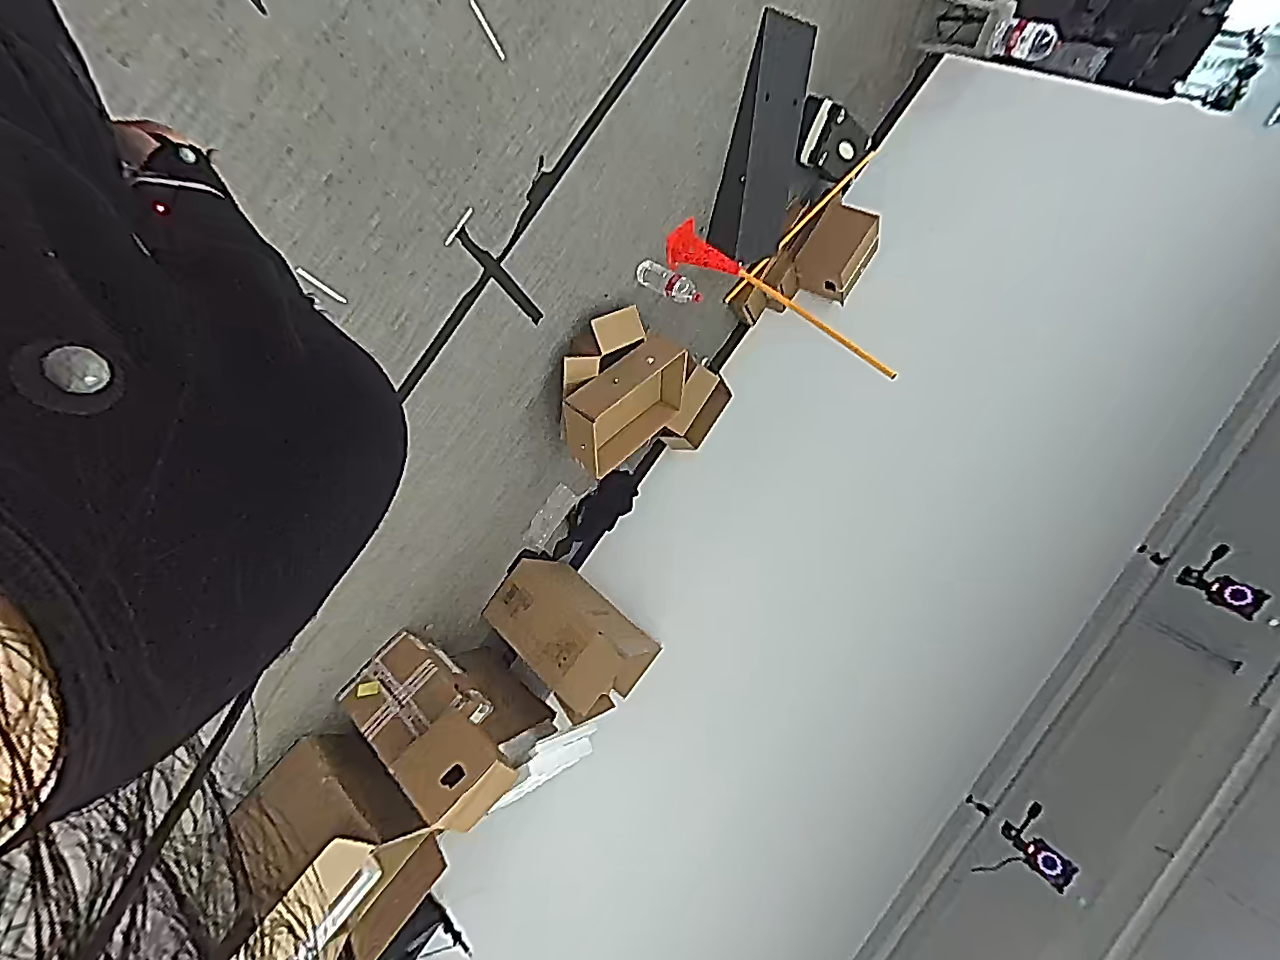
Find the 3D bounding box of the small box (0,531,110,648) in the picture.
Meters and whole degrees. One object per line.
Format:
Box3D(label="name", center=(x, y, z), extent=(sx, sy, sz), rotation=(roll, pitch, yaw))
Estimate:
Box3D(label="small box", center=(-1.378, 0.240, 1.245), extent=(0.168, 0.176, 0.179), rotation=(-26, 144, -47))
